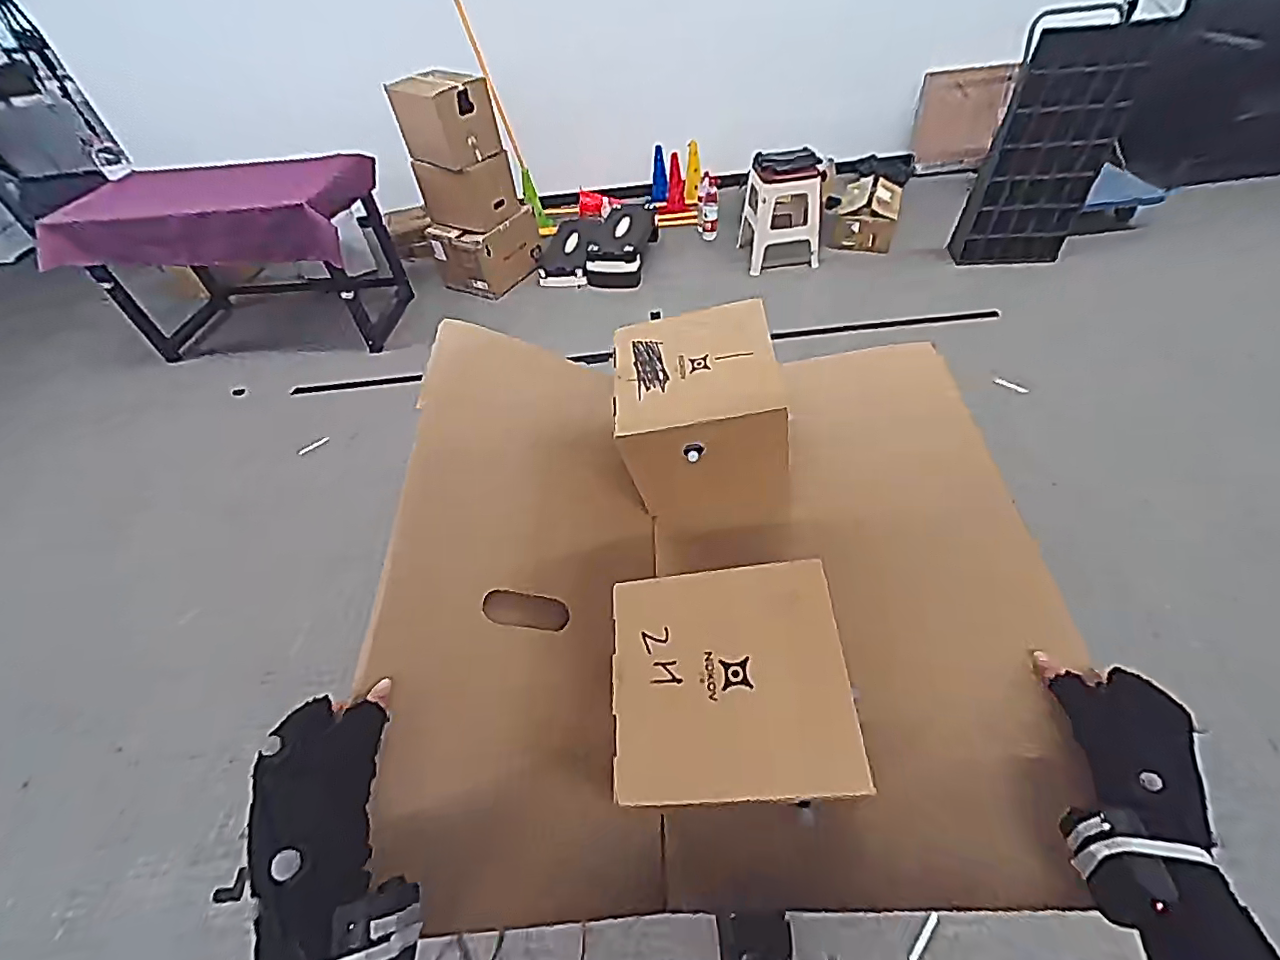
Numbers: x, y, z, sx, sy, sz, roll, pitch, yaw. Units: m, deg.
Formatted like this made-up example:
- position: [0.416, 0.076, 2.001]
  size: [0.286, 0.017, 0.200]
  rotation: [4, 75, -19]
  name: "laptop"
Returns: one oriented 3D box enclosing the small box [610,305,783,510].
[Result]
- position: [0.071, -0.078, 0.658]
  size: [0.179, 0.176, 0.168]
  rotation: [-9, 56, 10]
  name: "small box"
